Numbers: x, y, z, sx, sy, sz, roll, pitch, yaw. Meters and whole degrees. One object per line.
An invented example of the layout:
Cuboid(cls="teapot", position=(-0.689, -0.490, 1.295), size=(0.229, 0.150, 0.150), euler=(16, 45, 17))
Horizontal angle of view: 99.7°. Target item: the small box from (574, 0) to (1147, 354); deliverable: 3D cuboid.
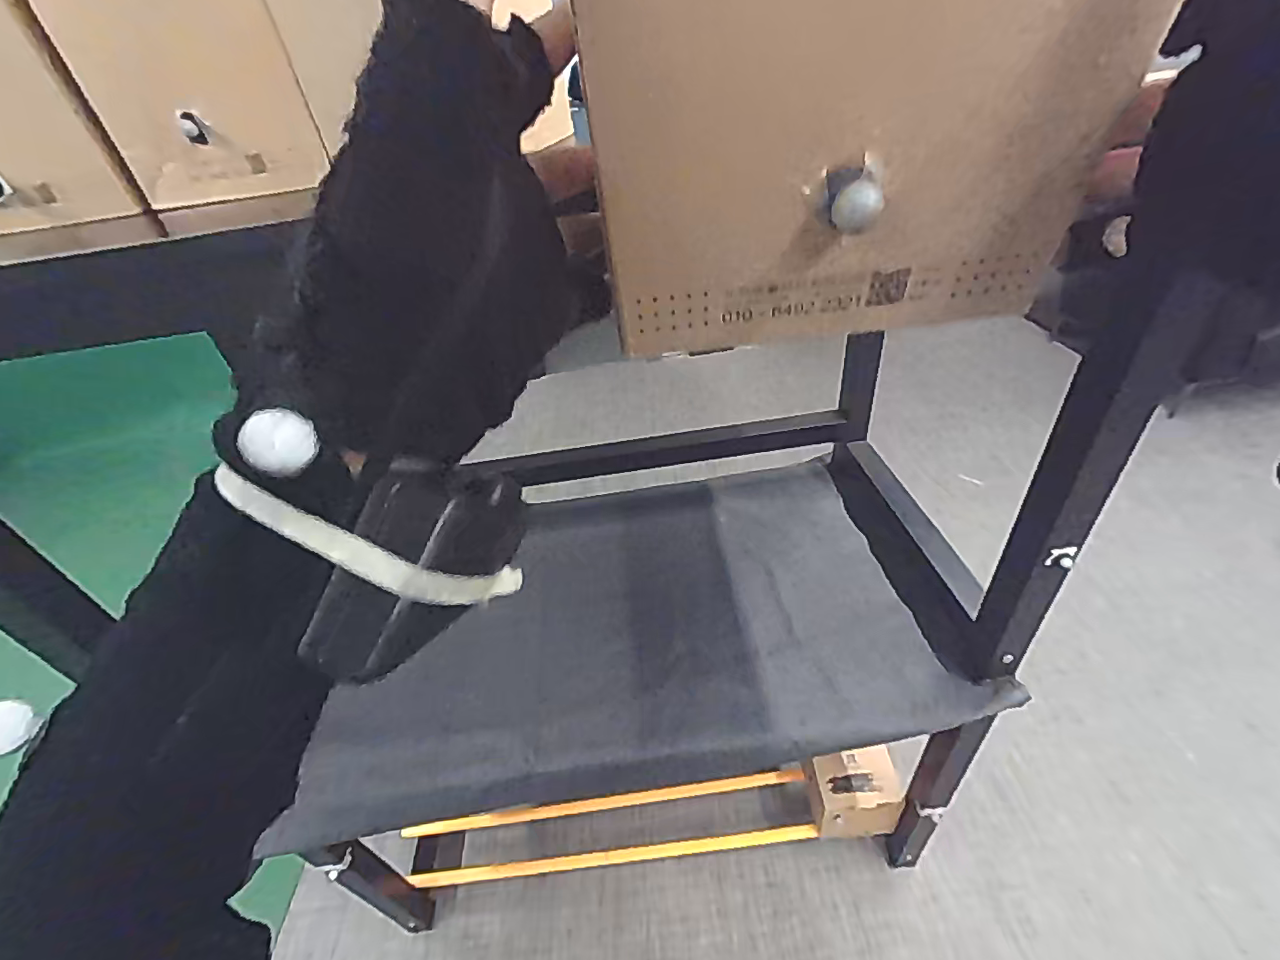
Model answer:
Cuboid(cls="small box", position=(0.061, -0.176, 0.227), size=(0.168, 0.176, 0.179), euler=(-6, 48, 3))
